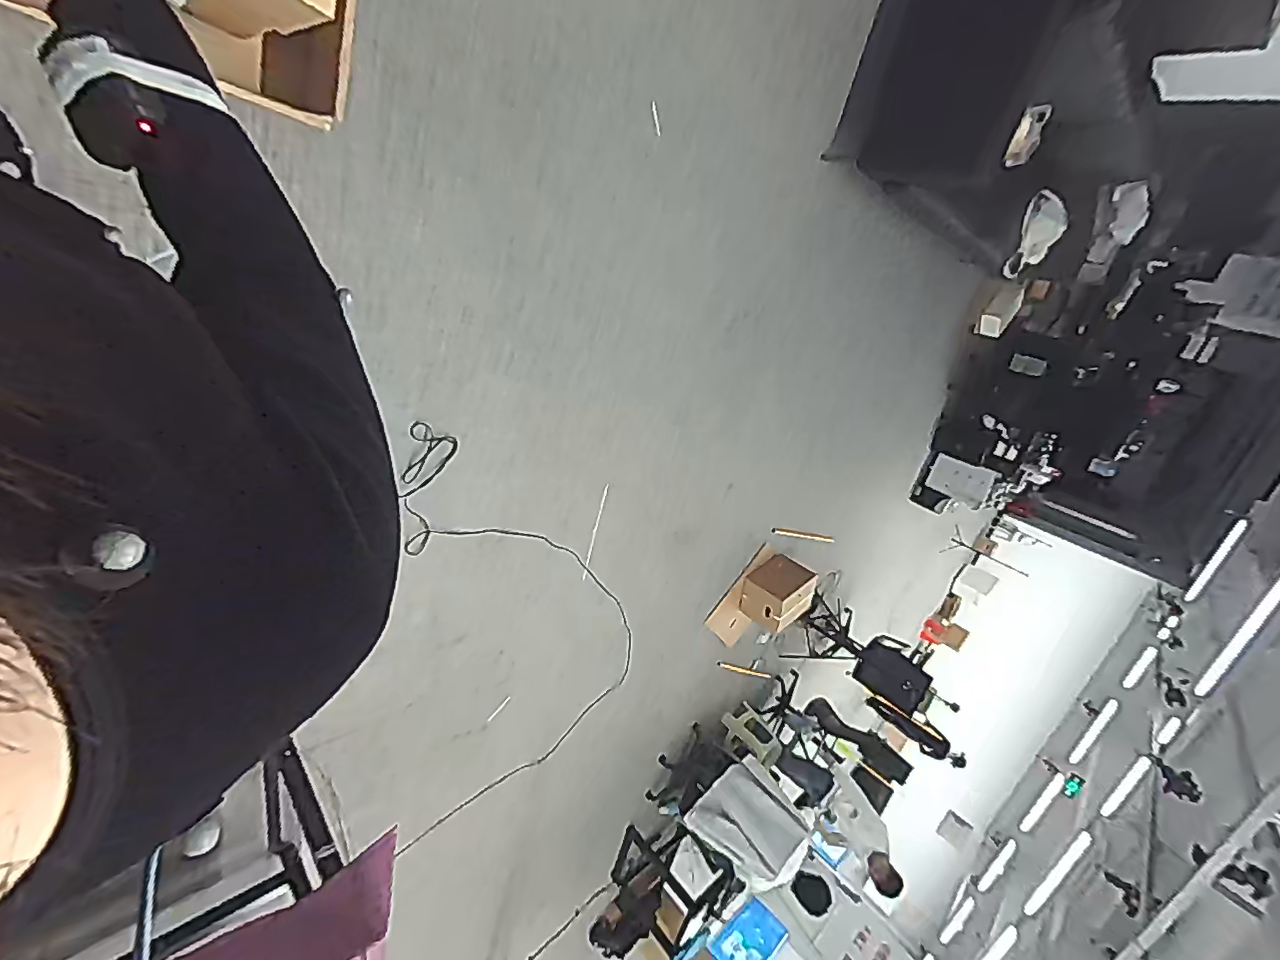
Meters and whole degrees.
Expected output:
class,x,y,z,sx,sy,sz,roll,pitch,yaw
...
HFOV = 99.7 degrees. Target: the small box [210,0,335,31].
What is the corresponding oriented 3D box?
class,x,y,z,sx,sy,sz,roll,pitch,yaw
small box,-0.381,-0.540,0.478,0.179,0.176,0.168,0,114,-49
